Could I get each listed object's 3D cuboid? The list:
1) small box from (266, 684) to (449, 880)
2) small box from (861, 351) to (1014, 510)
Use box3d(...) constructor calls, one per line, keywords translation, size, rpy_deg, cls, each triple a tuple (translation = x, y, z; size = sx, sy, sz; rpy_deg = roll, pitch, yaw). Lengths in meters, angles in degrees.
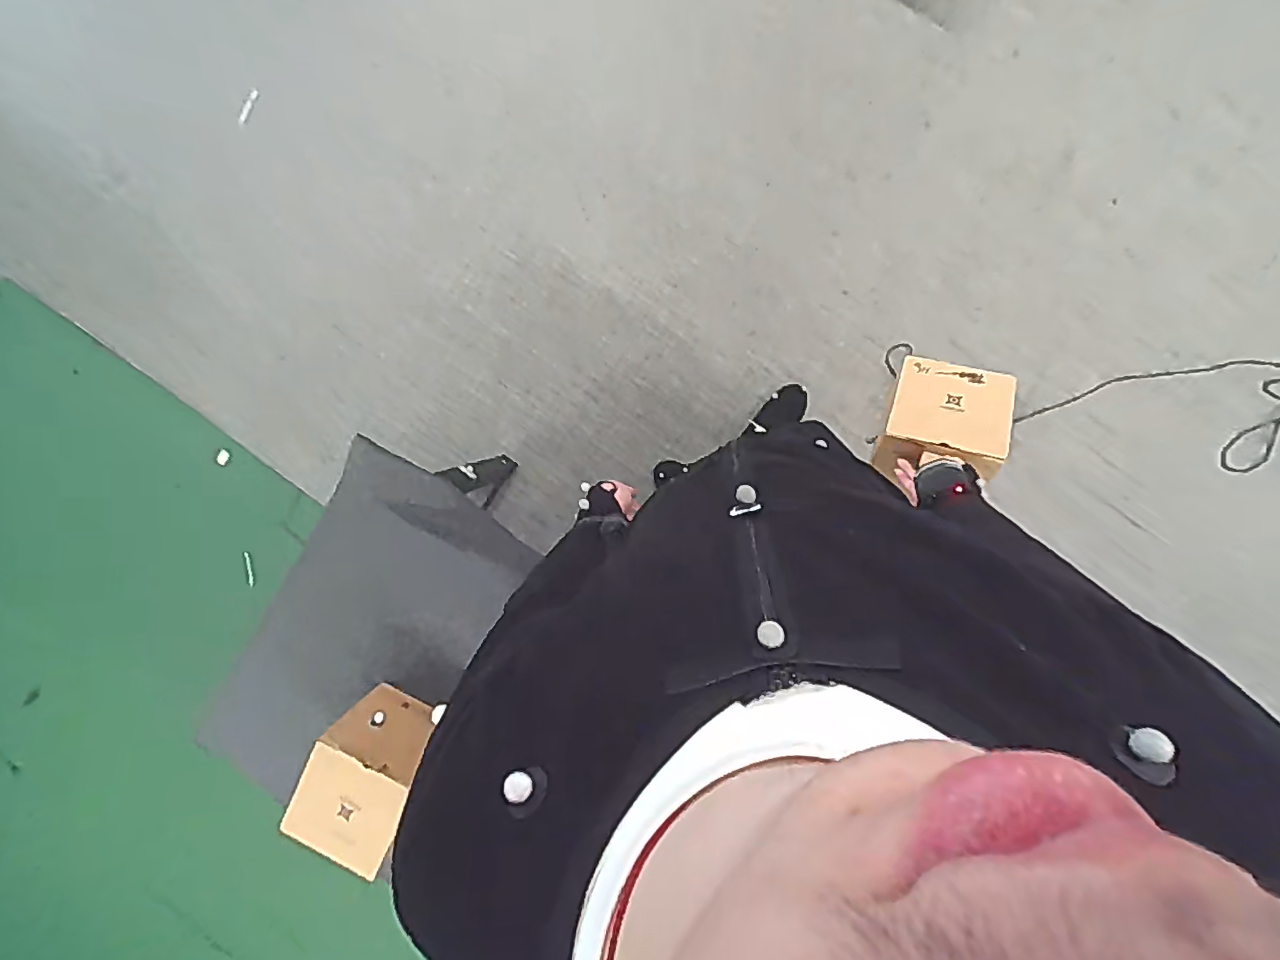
box3d(translation=(-0.431, 0.461, 0.855), size=(0.168, 0.176, 0.179), rpy_deg=(28, 100, 3), cls="small box")
box3d(translation=(0.477, -0.077, 0.887), size=(0.168, 0.176, 0.179), rpy_deg=(18, 62, 17), cls="small box")
